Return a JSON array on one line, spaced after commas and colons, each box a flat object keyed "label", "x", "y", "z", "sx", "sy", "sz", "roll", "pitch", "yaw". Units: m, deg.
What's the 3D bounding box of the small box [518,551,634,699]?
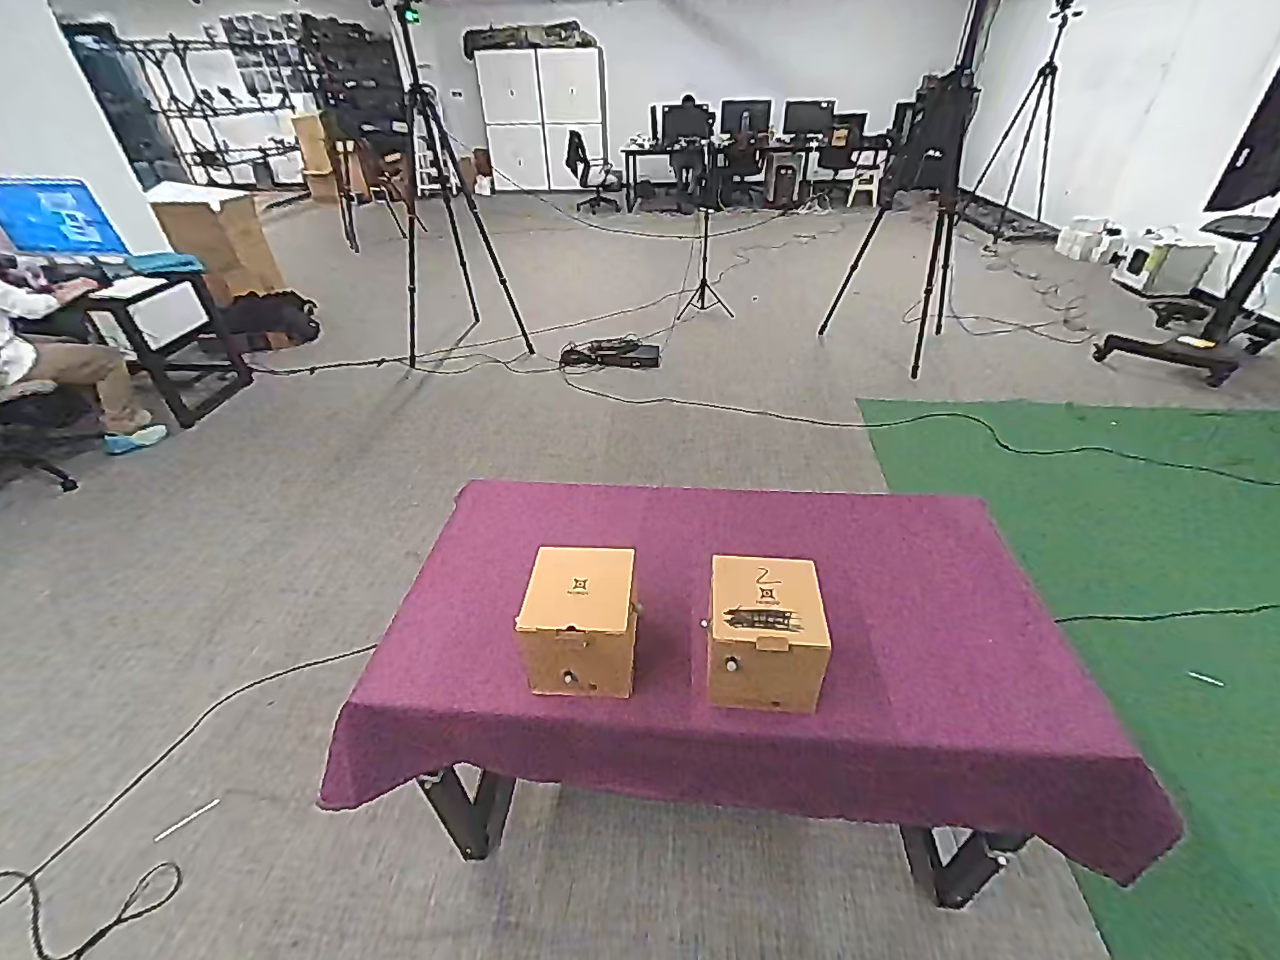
[{"label": "small box", "x": -0.097, "y": 0.242, "z": 0.916, "sx": 0.168, "sy": 0.176, "sz": 0.179, "roll": 1, "pitch": 37, "yaw": 3}]
